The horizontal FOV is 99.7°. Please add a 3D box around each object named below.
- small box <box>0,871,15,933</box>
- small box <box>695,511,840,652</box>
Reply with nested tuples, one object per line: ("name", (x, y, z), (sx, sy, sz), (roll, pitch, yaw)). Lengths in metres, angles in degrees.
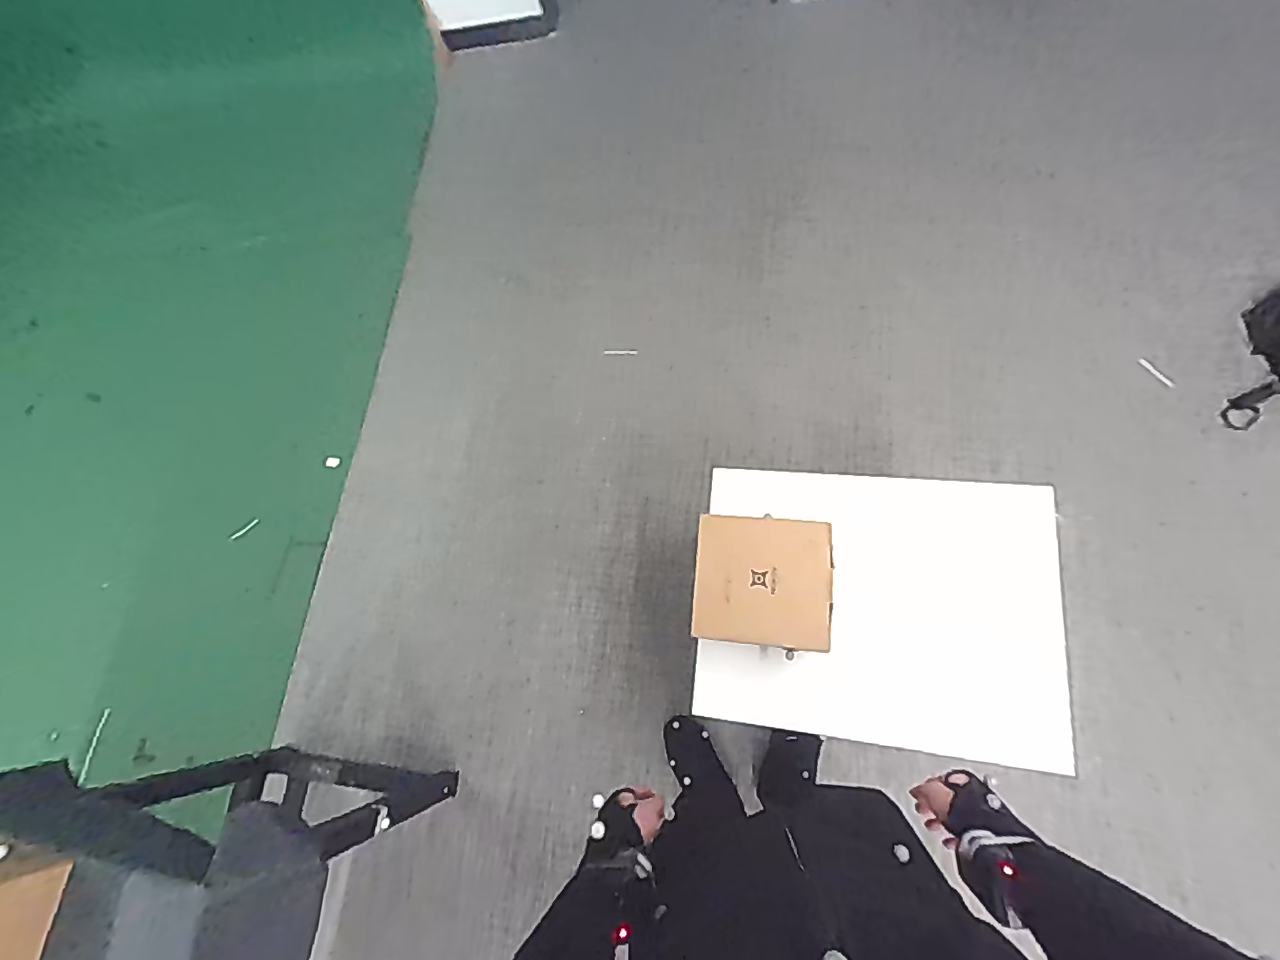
("small box", (-0.961, 0.604, 0.669), (0.168, 0.176, 0.179), (6, 73, 11))
("small box", (0.174, 0.148, 0.763), (0.179, 0.176, 0.168), (3, 72, 10))
